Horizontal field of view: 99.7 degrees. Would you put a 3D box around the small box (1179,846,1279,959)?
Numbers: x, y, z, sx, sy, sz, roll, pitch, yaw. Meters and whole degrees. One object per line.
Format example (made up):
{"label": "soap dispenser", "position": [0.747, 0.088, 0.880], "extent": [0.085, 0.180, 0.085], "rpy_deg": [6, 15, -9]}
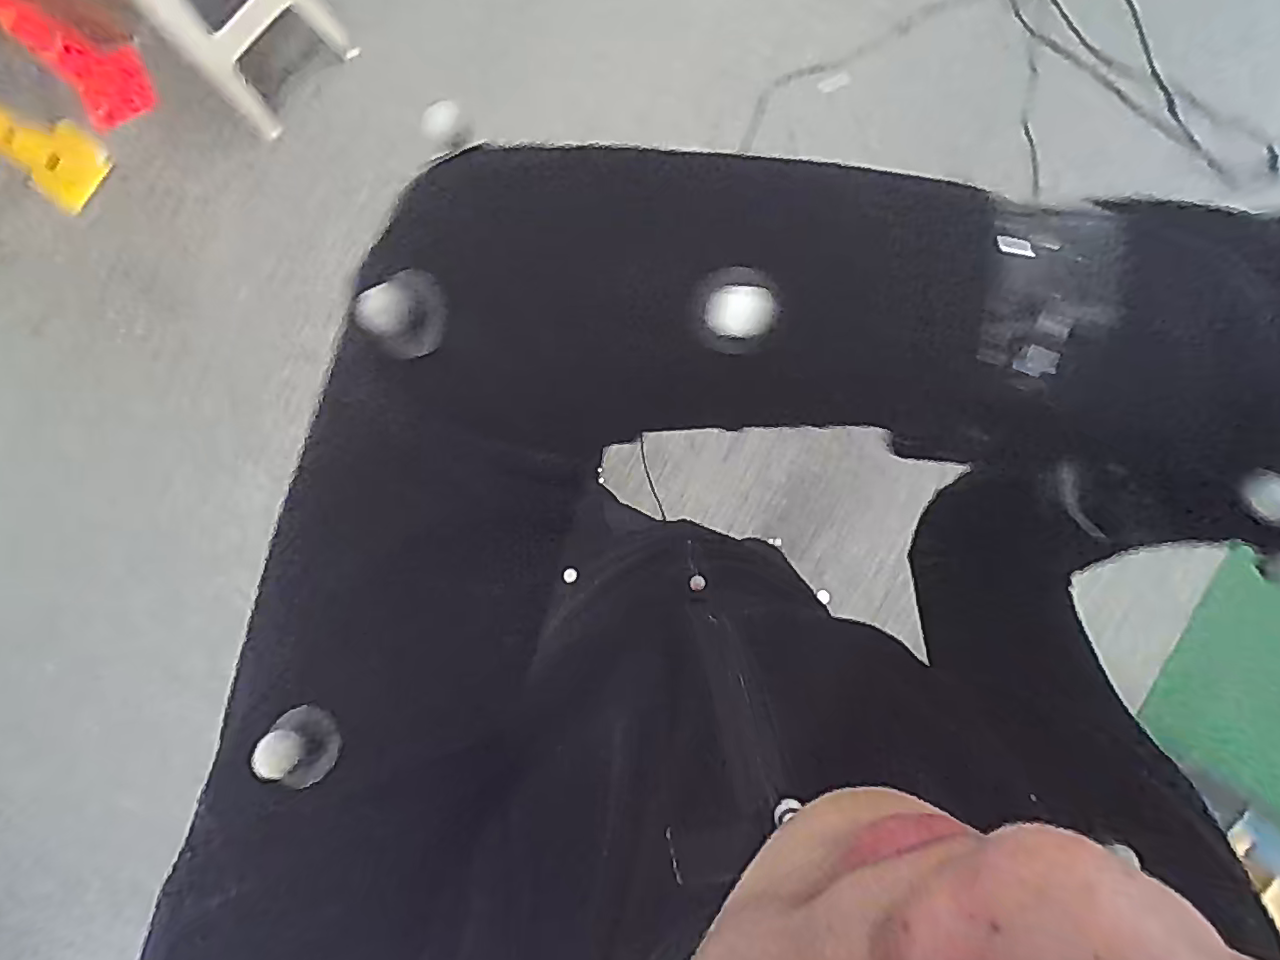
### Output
{"label": "small box", "position": [1.510, 1.051, 1.330], "extent": [0.179, 0.176, 0.168], "rpy_deg": [36, 92, 0]}
